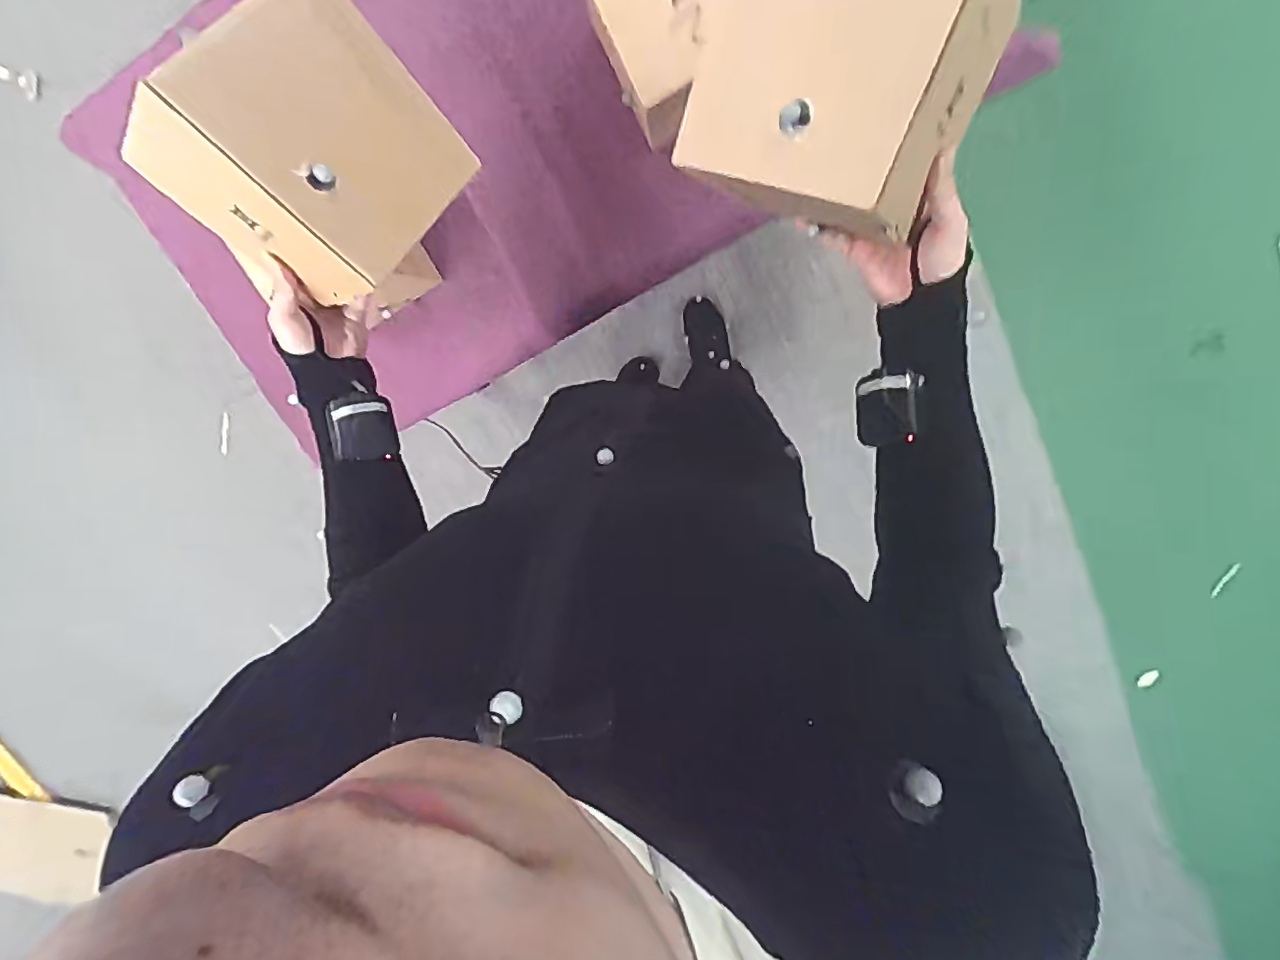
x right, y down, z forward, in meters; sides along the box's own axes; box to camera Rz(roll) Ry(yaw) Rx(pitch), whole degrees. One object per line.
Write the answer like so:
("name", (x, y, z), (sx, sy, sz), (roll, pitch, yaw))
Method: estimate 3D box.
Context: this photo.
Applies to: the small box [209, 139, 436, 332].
("small box", (-0.425, -0.323, 0.755), (0.168, 0.176, 0.179), (-27, 103, 13))
